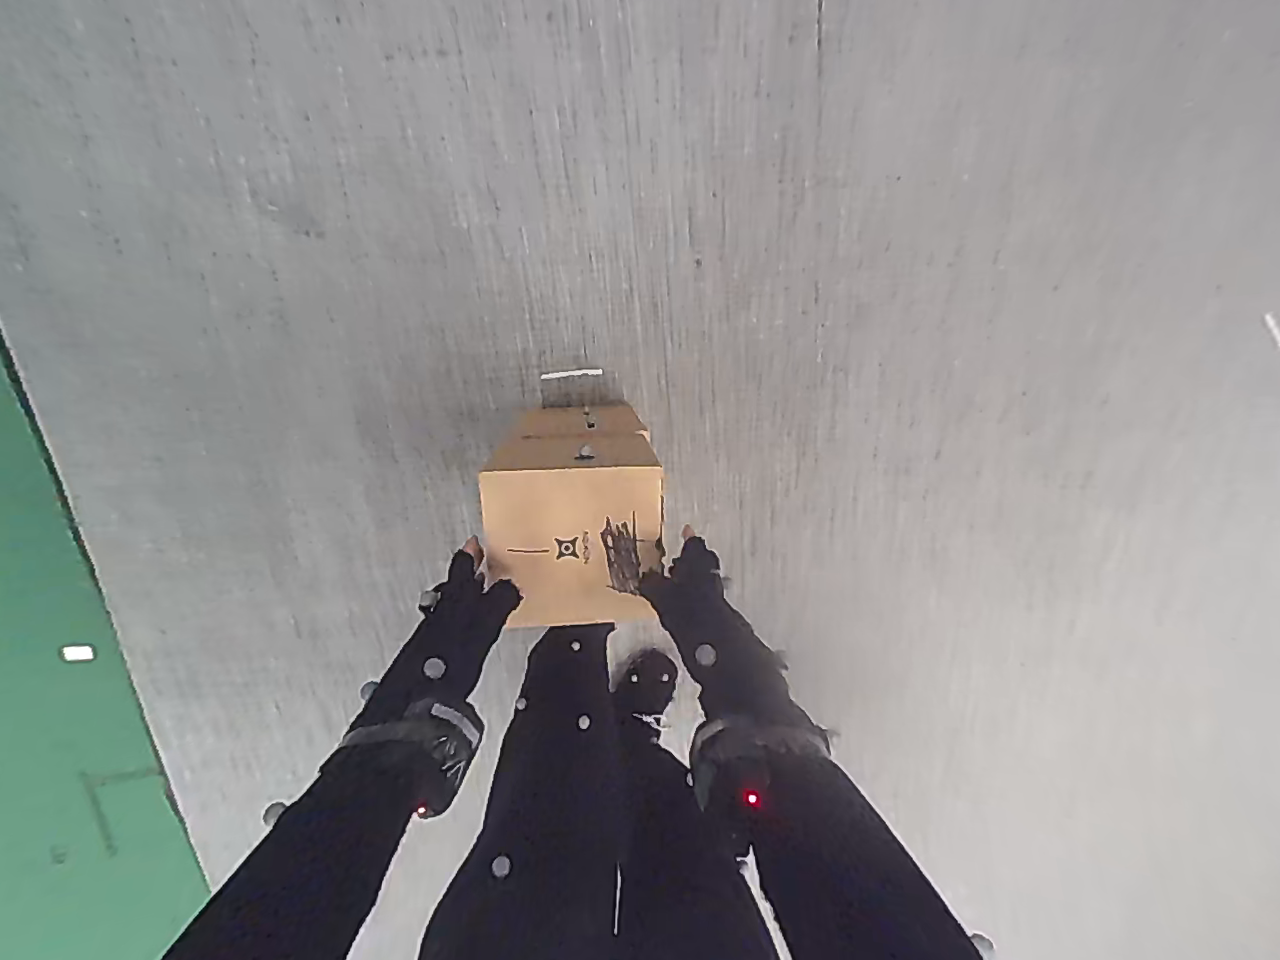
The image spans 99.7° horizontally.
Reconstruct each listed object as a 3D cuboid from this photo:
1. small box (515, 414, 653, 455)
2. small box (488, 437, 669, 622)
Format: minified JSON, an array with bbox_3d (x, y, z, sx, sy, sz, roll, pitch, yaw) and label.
[{"bbox_3d":[-0.078,0.000,0.772,0.179,0.176,0.168,-2,105,-5],"label":"small box"},{"bbox_3d":[-0.069,0.045,0.611,0.179,0.176,0.168,1,103,-6],"label":"small box"}]
